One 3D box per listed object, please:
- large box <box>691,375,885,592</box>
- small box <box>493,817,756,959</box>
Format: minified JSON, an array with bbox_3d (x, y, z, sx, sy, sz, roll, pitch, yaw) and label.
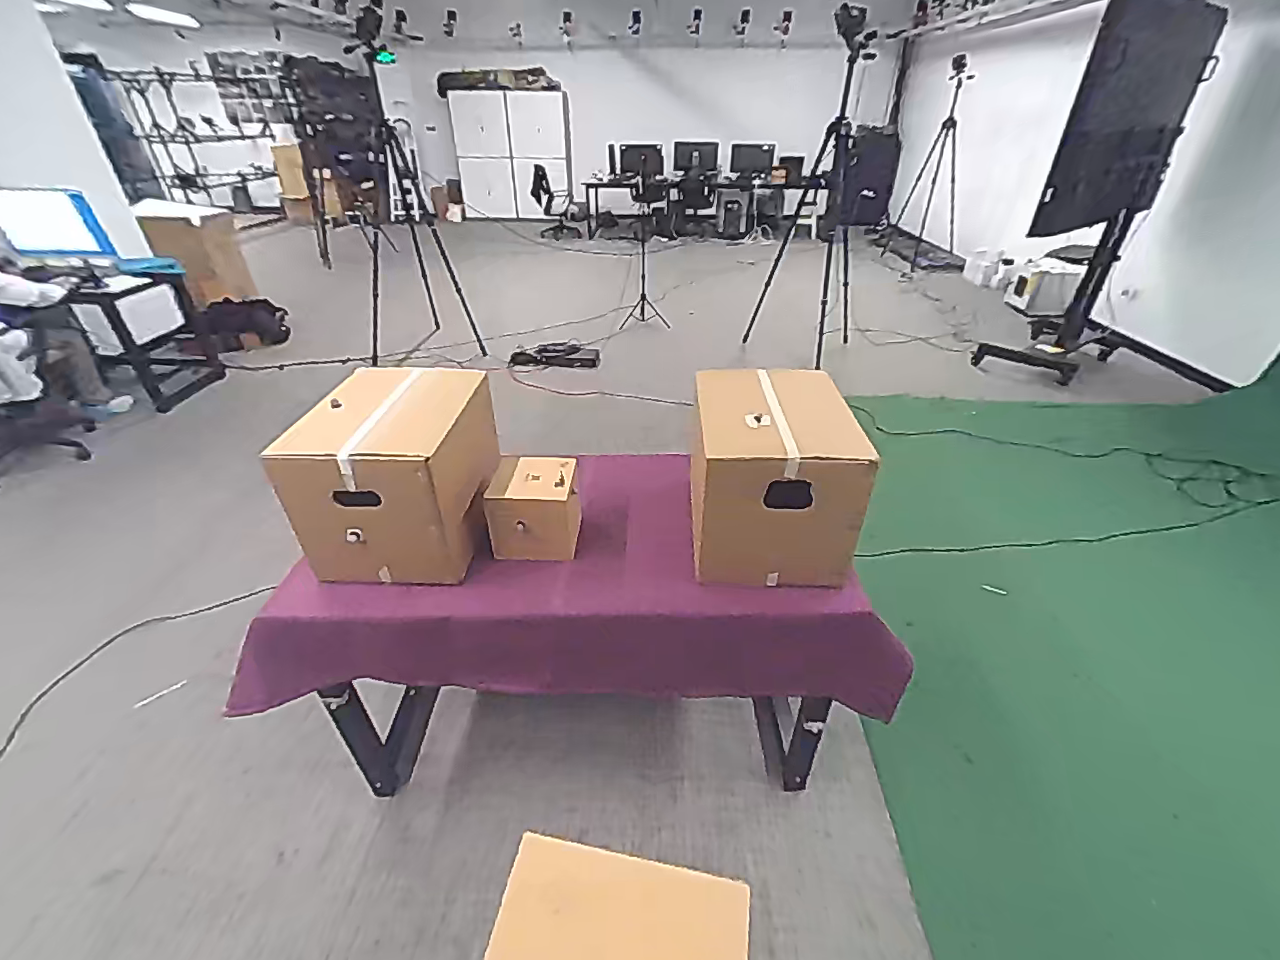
[{"bbox_3d":[0.287,-0.007,1.208,0.320,0.320,0.408,2,35,2],"label":"large box"},{"bbox_3d":[-0.016,0.380,0.383,0.168,0.176,0.179,8,41,9],"label":"small box"}]
